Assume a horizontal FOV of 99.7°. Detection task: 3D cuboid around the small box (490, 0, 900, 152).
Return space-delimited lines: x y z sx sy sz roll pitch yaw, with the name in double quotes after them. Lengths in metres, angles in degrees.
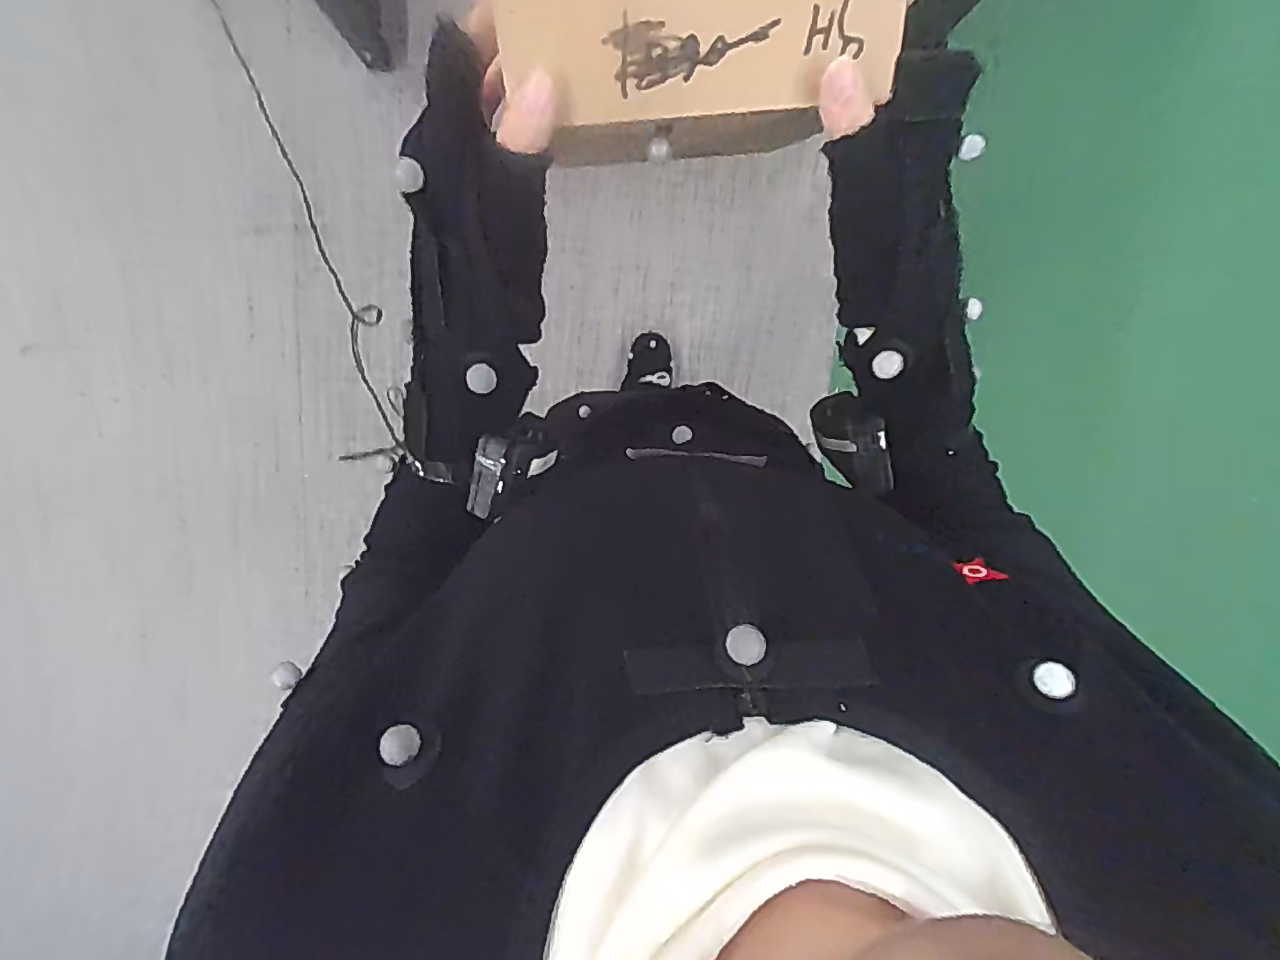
0.014 -0.276 0.262 0.168 0.176 0.179 -5 115 0 "small box"
